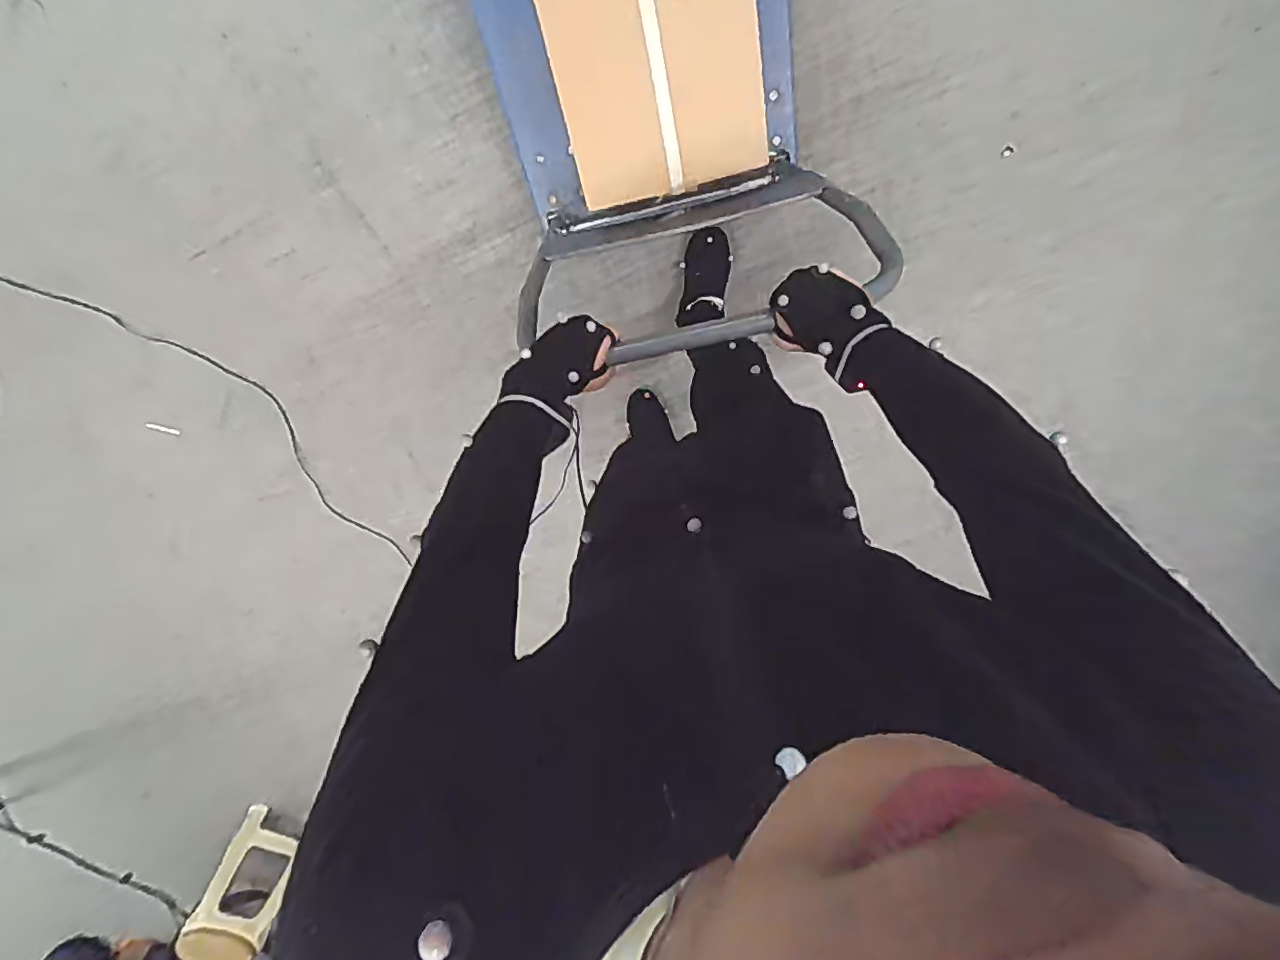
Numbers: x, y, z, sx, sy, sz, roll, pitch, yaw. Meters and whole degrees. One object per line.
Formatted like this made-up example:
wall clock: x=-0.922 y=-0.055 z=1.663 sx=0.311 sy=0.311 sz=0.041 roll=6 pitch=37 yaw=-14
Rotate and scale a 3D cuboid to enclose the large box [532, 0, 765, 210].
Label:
large box: x=0.018 y=-0.738 z=0.942 sx=0.320 sy=0.320 sz=0.408 roll=-11 pitch=122 yaw=8
